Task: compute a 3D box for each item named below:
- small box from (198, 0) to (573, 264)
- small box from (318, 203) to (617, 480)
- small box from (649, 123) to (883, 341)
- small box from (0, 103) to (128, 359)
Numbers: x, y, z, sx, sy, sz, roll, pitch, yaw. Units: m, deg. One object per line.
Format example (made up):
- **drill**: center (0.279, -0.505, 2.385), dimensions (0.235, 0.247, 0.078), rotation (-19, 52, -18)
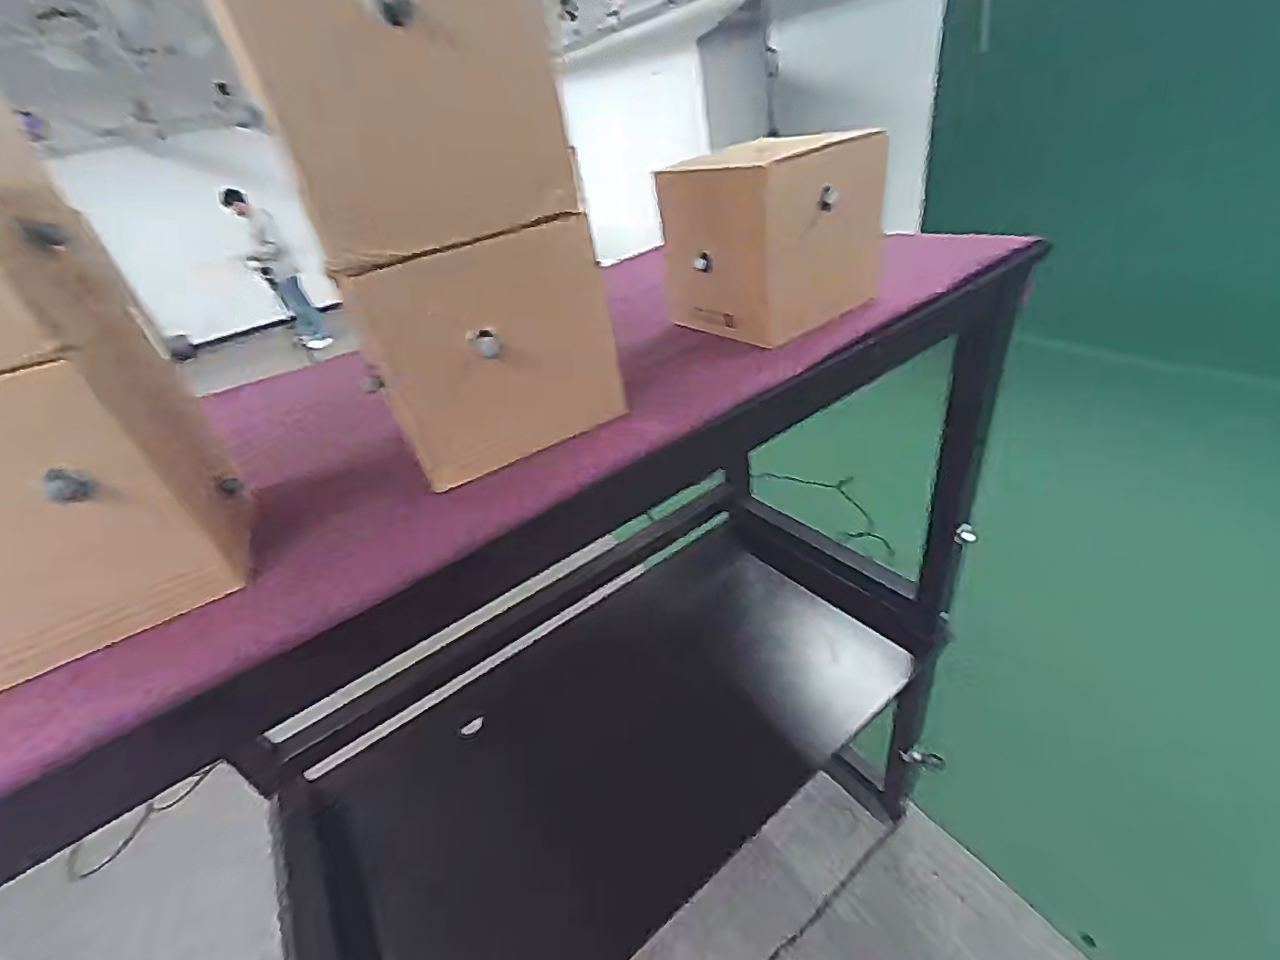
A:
- **small box**: center (-0.170, -0.260, 0.378), dimensions (0.179, 0.176, 0.168), rotation (-25, 35, -20)
- **small box**: center (-0.142, -0.124, 0.464), dimensions (0.179, 0.176, 0.168), rotation (-27, 35, -21)
- **small box**: center (0.137, -0.266, 0.588), dimensions (0.179, 0.176, 0.168), rotation (-29, 38, -23)
- **small box**: center (-0.426, -0.134, 0.268), dimensions (0.179, 0.176, 0.168), rotation (-24, 34, -21)
